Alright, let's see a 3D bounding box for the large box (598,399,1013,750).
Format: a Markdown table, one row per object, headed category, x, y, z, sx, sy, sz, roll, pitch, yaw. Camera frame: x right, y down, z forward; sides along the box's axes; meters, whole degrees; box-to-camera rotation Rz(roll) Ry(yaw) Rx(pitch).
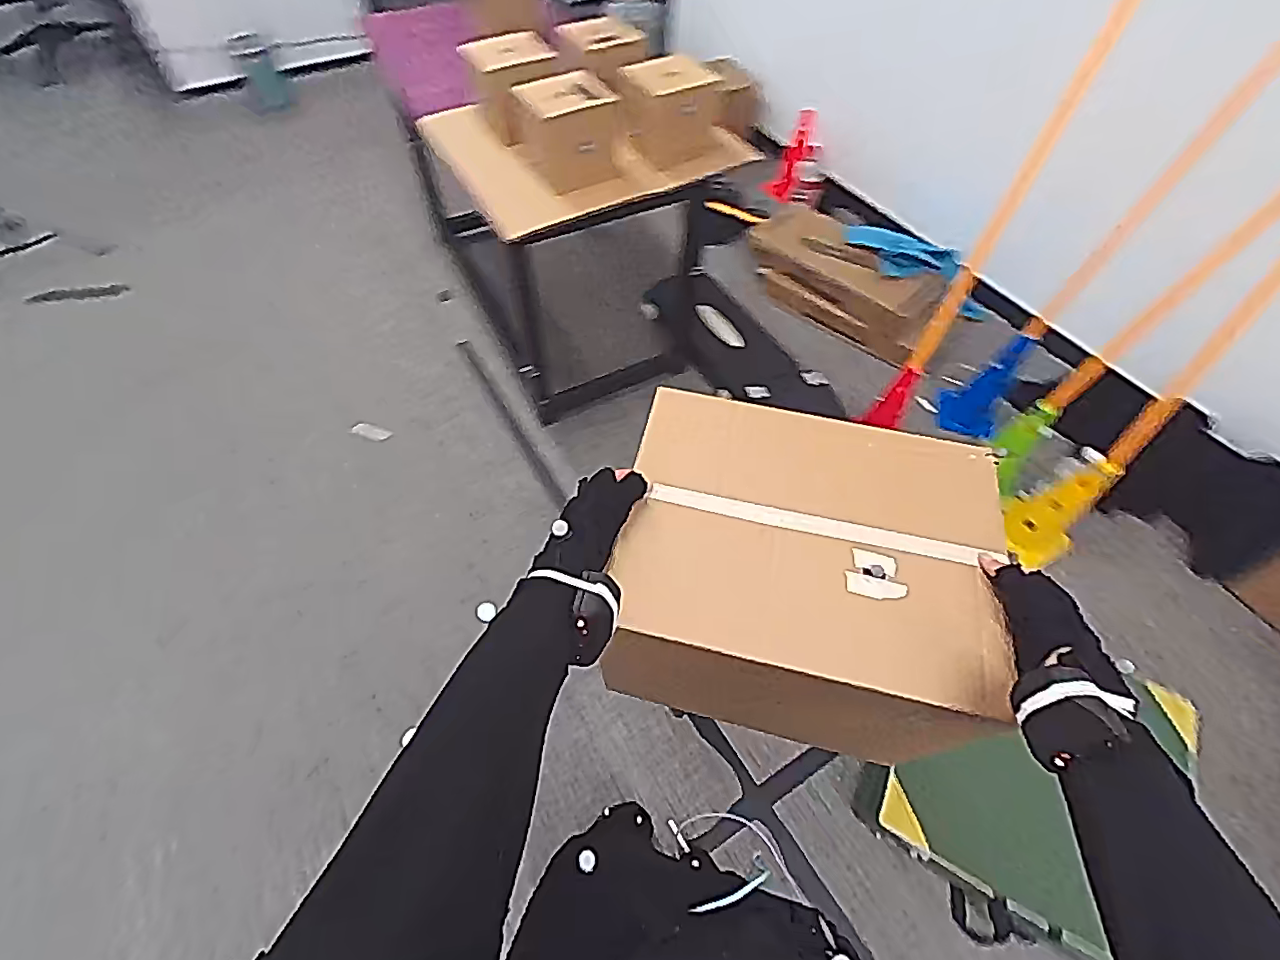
| category | x | y | z | sx | sy | sz | roll | pitch | yaw |
| --- | --- | --- | --- | --- | --- | --- | --- | --- | --- |
| large box | 0.180 | 0.133 | 0.719 | 0.408 | 0.320 | 0.320 | 11 | 59 | 7 |
